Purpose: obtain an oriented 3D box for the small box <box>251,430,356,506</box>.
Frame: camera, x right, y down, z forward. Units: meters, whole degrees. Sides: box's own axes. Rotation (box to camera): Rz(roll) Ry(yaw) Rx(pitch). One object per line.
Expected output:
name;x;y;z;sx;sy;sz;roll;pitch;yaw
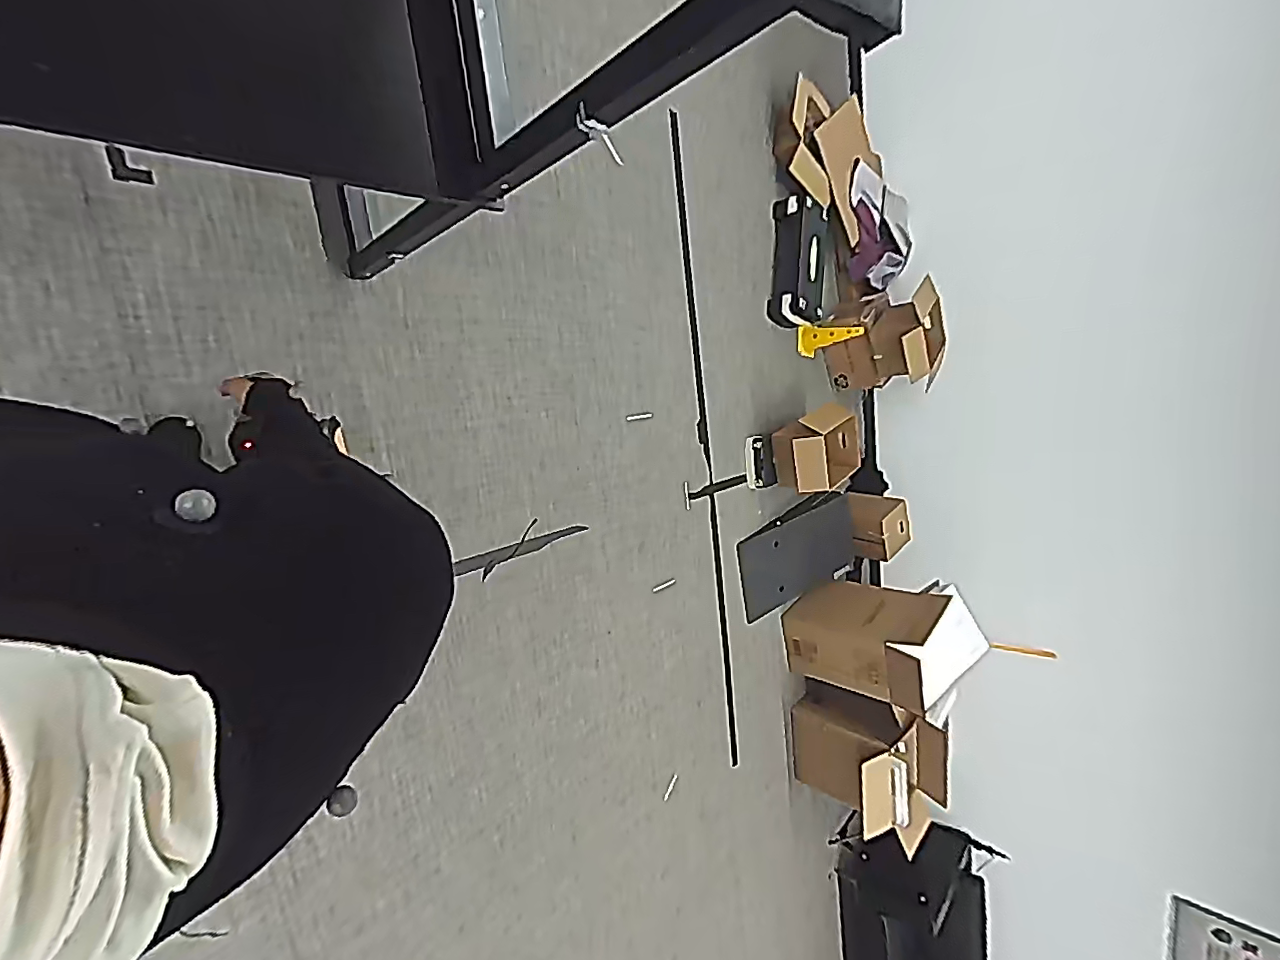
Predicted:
small box;-0.867;-0.038;1.394;0.179;0.176;0.168;-18;105;-43
